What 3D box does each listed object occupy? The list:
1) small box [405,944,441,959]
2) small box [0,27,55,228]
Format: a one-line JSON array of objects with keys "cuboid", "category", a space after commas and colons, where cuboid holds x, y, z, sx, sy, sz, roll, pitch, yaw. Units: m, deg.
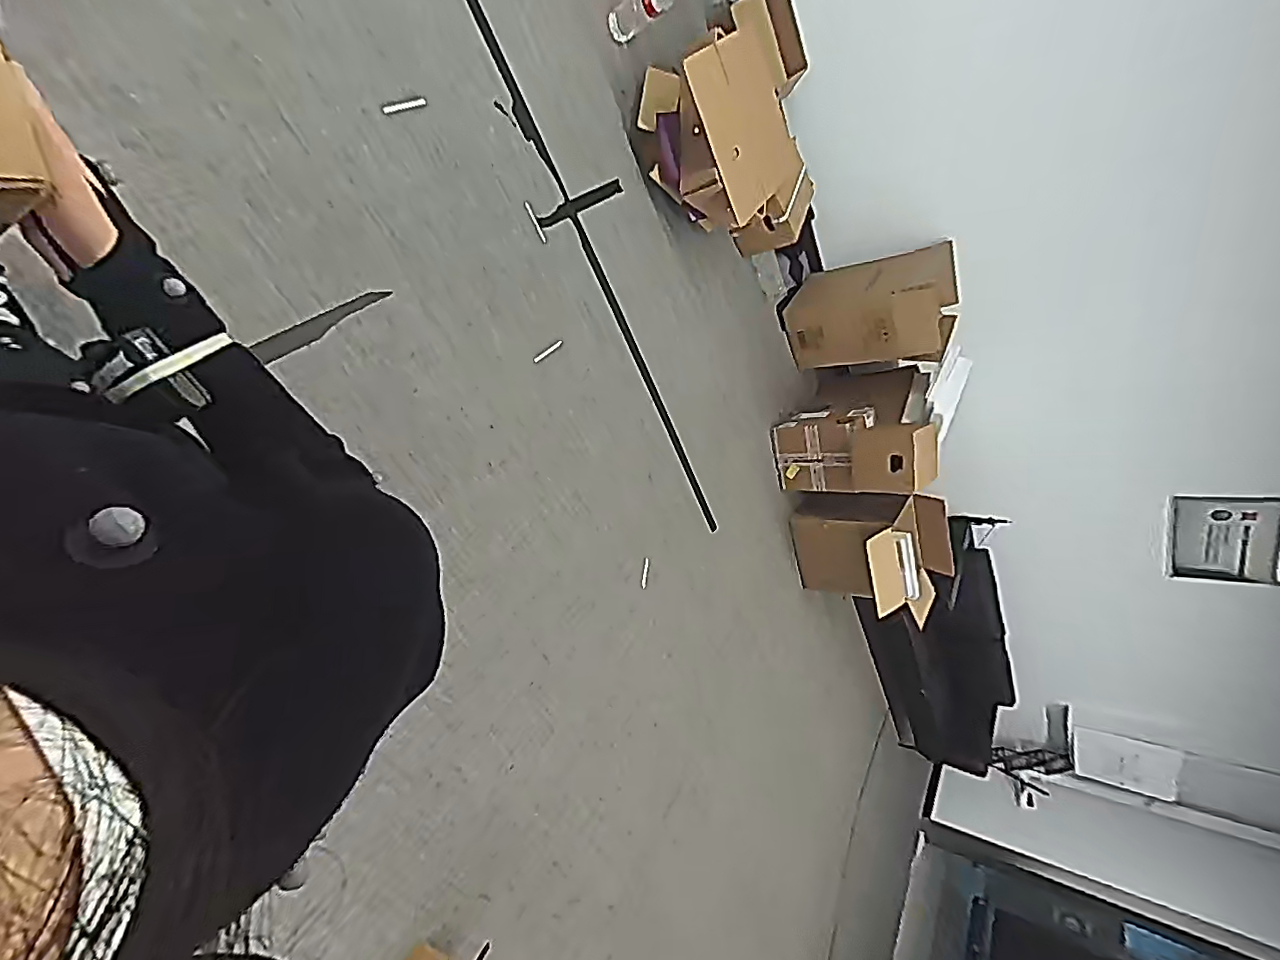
[{"cuboid": [-0.608, 1.470, 1.513, 0.179, 0.176, 0.168, -50, 125, -38], "category": "small box"}, {"cuboid": [-0.410, -0.205, 0.227, 0.168, 0.176, 0.179, -30, 118, -53], "category": "small box"}]
